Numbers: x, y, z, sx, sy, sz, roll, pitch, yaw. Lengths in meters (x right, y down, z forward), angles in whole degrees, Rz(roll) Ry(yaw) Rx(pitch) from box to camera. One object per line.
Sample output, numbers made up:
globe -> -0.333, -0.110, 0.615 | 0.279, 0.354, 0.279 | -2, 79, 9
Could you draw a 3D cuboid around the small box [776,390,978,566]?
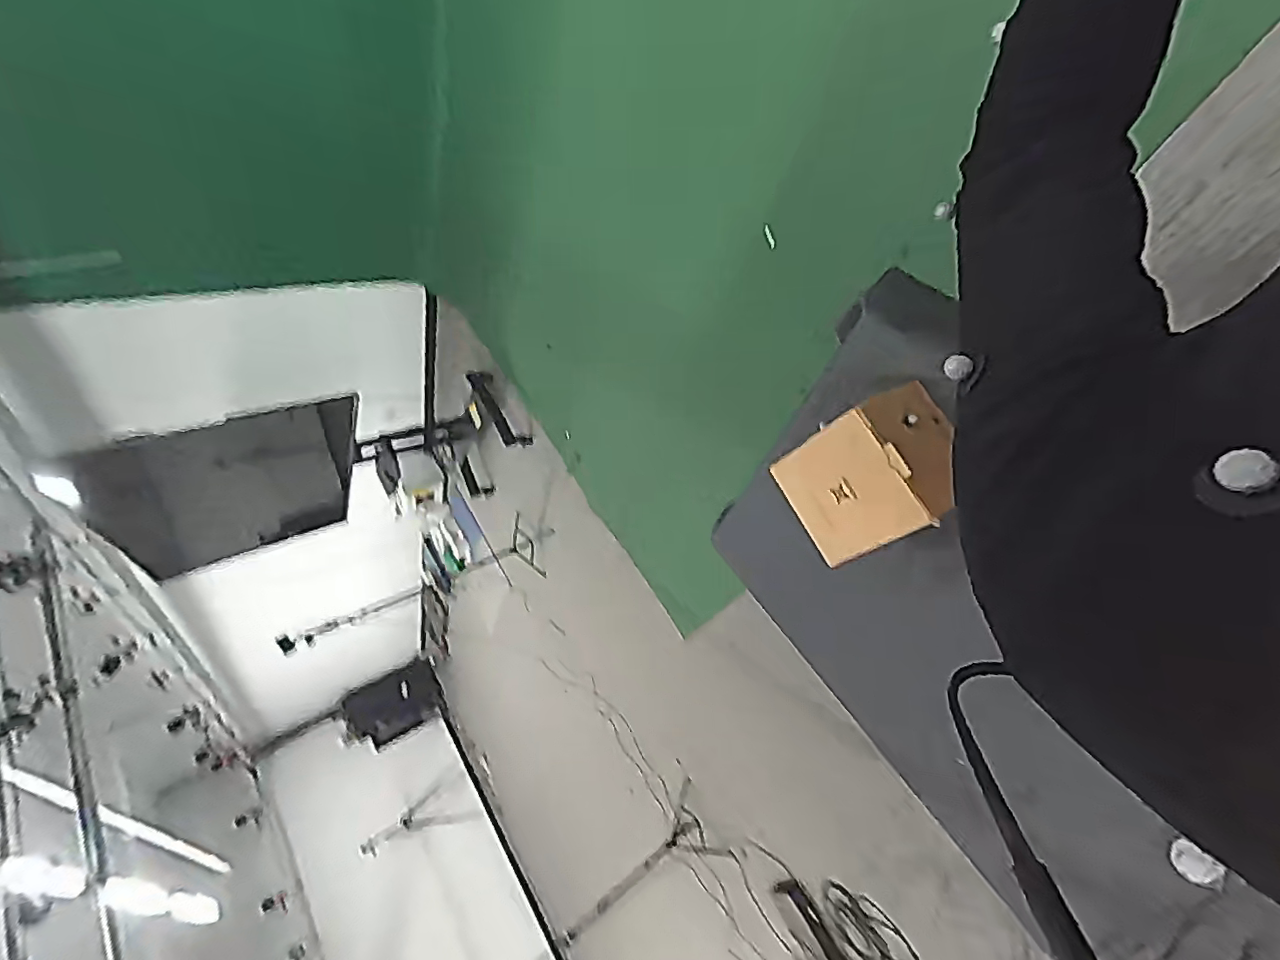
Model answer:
small box -> 0.337, -0.005, 0.764 | 0.168, 0.176, 0.179 | 61, 146, 14
